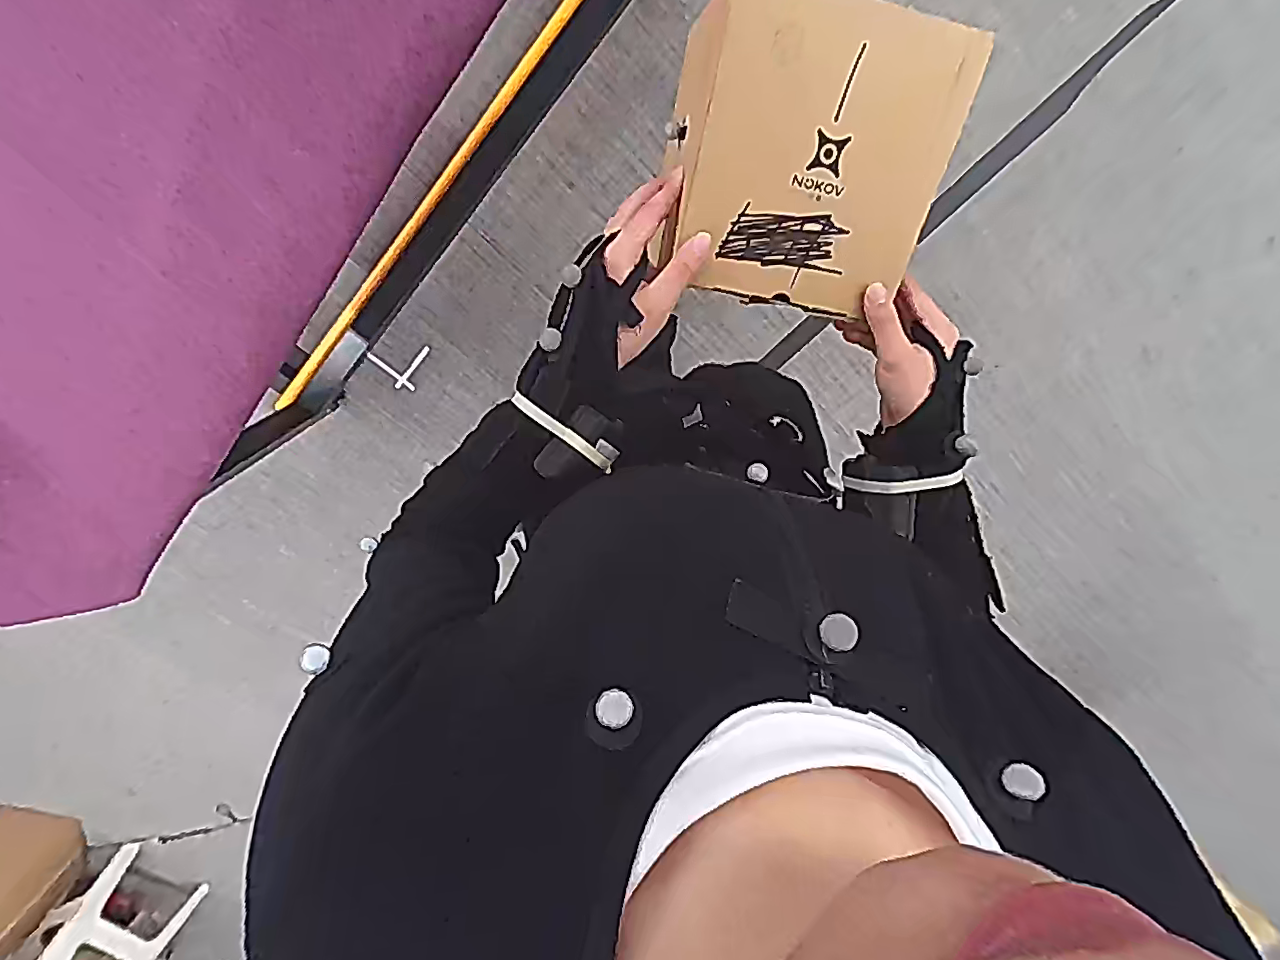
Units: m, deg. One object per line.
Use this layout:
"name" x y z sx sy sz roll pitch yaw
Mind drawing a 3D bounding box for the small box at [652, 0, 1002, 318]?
"small box" 0.108 -0.239 0.406 0.168 0.176 0.179 8 116 -10
